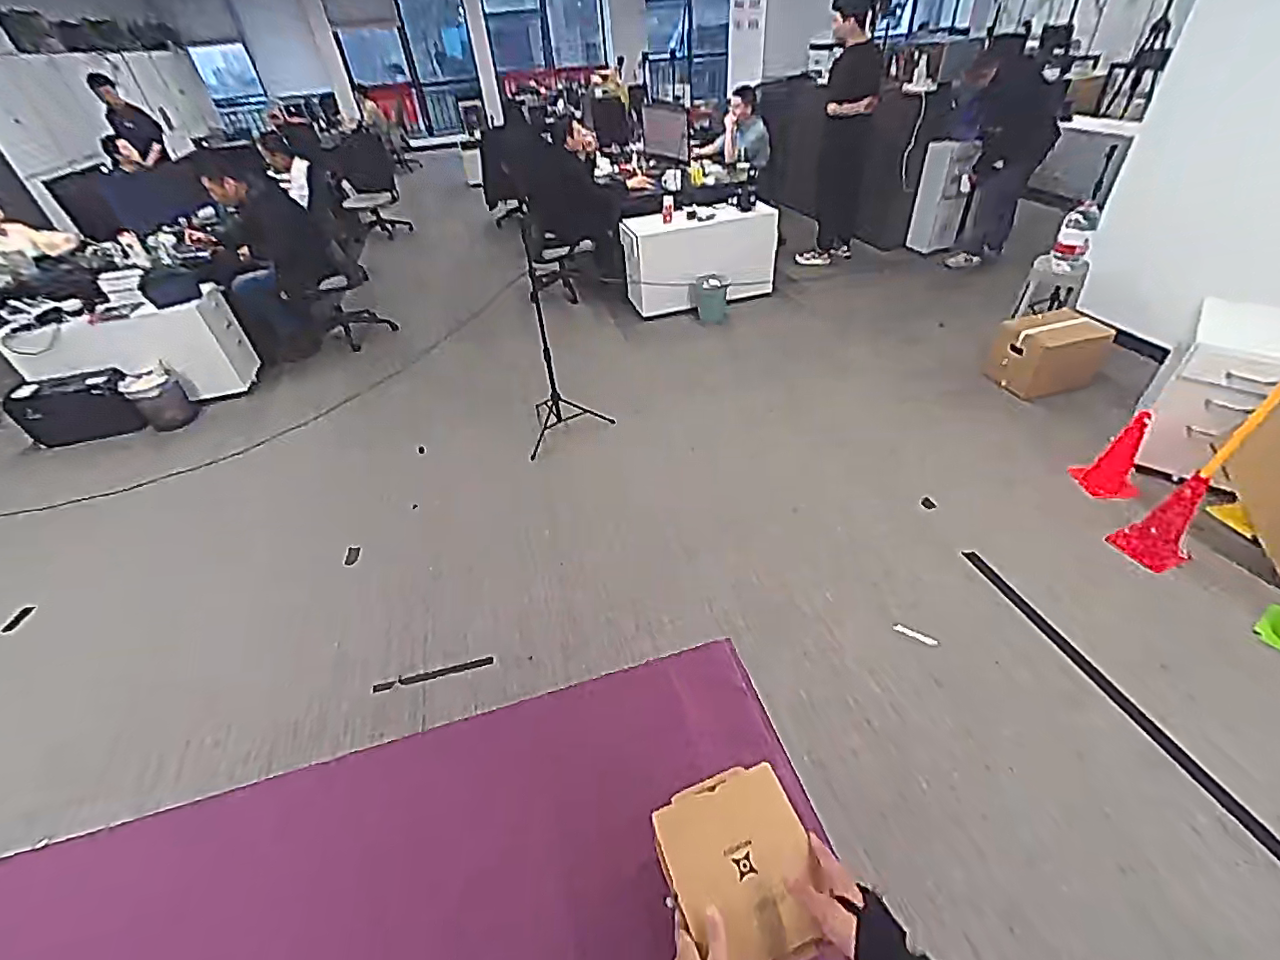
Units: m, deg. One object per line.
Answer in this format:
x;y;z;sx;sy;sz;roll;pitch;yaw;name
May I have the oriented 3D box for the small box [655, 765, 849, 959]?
0.126;0.500;0.671;0.168;0.176;0.179;-17;41;-11;small box
